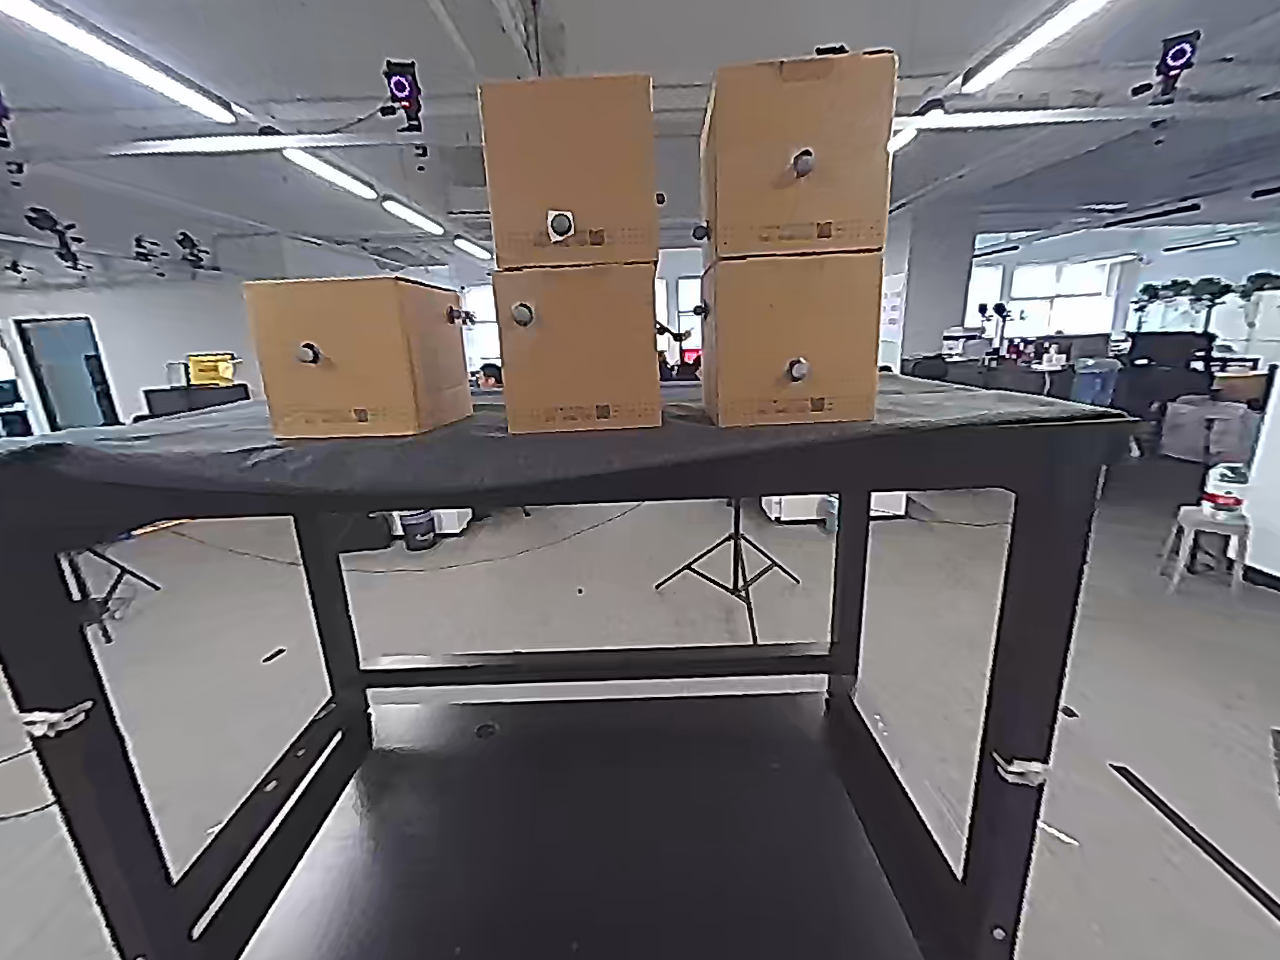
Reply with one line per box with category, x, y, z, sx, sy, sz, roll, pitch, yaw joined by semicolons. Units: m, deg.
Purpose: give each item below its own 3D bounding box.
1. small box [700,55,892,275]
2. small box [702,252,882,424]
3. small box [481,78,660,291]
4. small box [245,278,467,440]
small box;0.154;-0.318;0.588;0.168;0.176;0.179;-2;15;3
small box;0.160;-0.158;0.627;0.168;0.176;0.179;-3;14;2
small box;-0.065;-0.309;0.603;0.168;0.176;0.179;-4;14;0
small box;-0.320;-0.141;0.653;0.168;0.176;0.179;-1;14;3
